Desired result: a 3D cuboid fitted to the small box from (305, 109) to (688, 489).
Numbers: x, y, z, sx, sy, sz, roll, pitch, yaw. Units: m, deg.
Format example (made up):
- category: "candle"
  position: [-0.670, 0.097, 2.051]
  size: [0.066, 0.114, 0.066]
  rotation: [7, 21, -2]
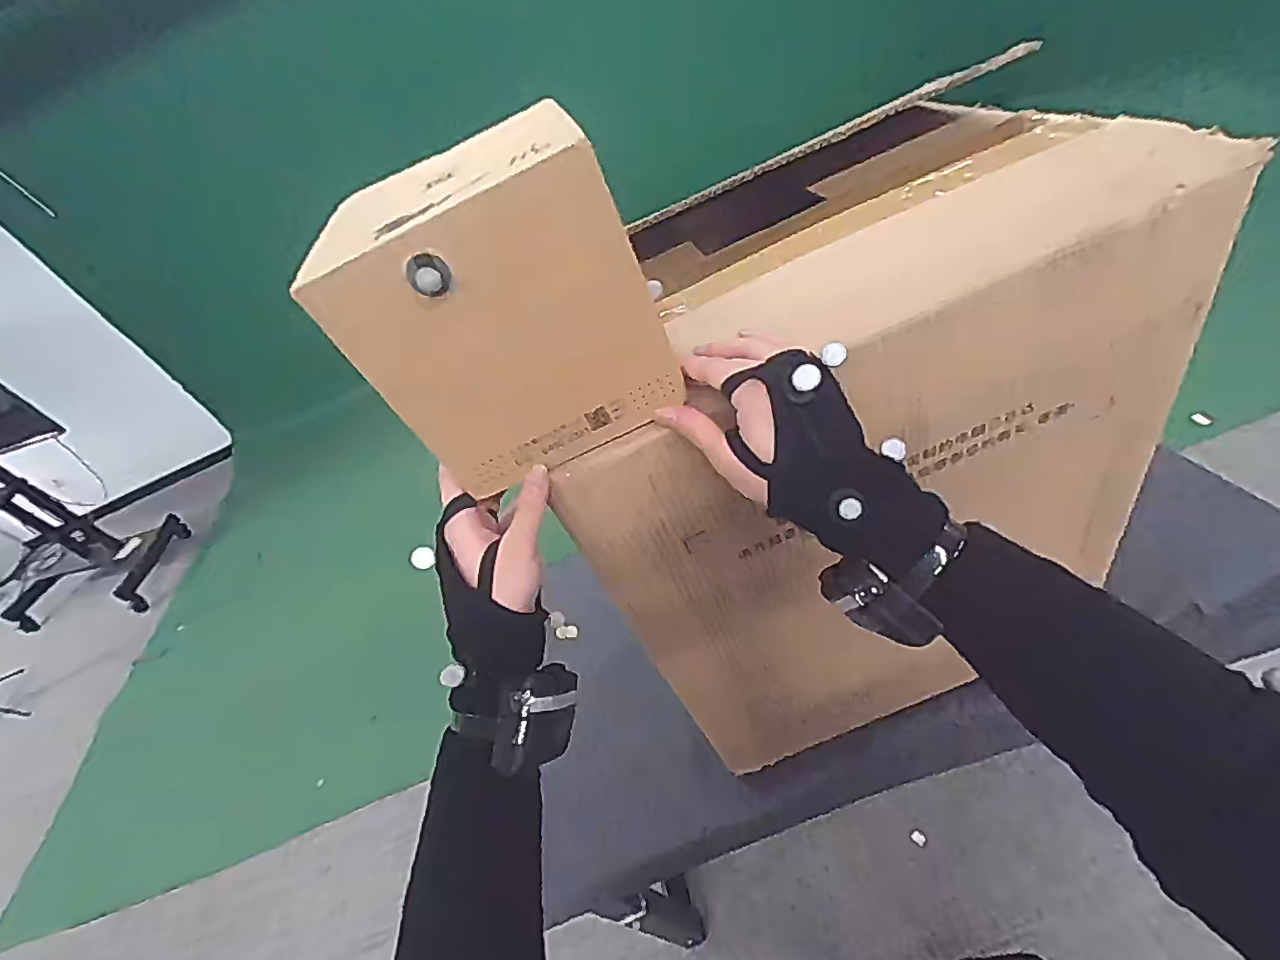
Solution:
- category: "small box"
  position: [-0.084, -0.126, 0.382]
  size: [0.168, 0.176, 0.179]
  rotation: [-25, 41, 5]
